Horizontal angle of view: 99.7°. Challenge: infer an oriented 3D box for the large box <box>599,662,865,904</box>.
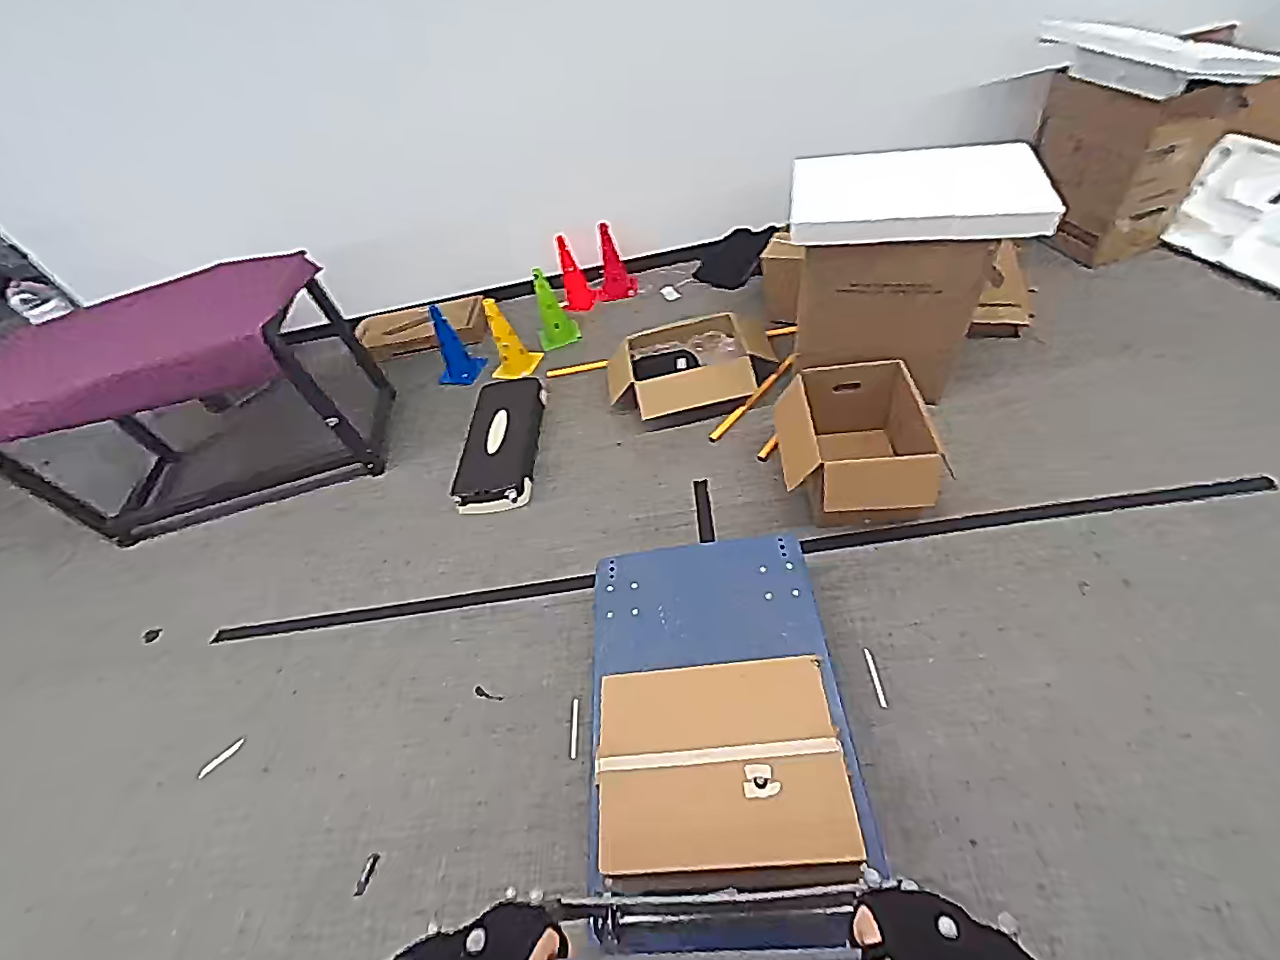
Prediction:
[{"bbox_3d":[0.149,0.569,1.005,0.408,0.320,0.320,-8,49,6],"label":"large box"}]
